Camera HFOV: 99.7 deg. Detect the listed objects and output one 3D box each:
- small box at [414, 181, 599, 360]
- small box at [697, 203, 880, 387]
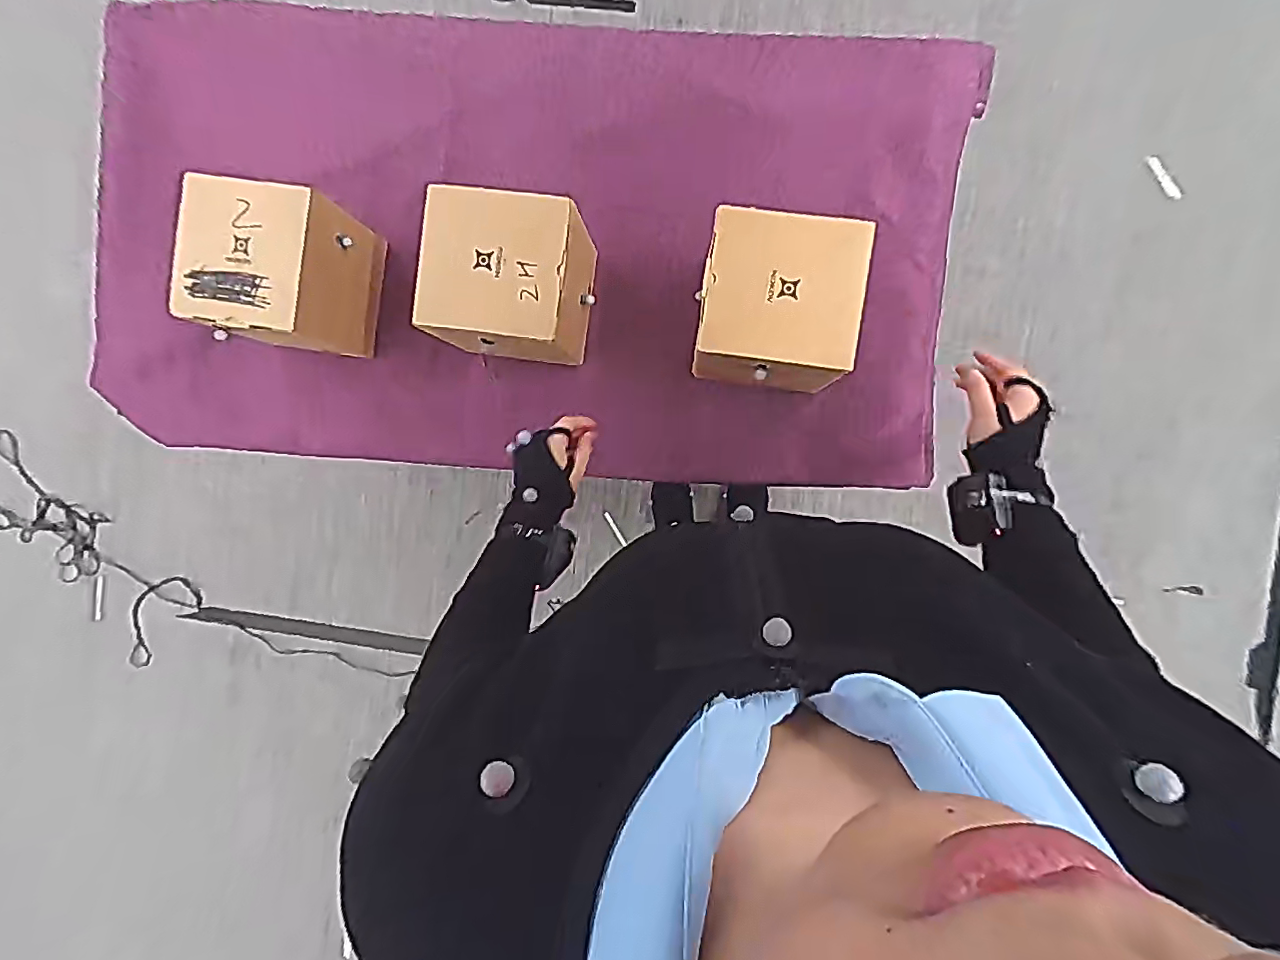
[{"bbox_3d":[-0.161,-0.257,0.702,0.179,0.176,0.168,8,94,5],"label":"small box"},{"bbox_3d":[0.170,-0.216,0.675,0.179,0.176,0.168,9,92,6],"label":"small box"}]
